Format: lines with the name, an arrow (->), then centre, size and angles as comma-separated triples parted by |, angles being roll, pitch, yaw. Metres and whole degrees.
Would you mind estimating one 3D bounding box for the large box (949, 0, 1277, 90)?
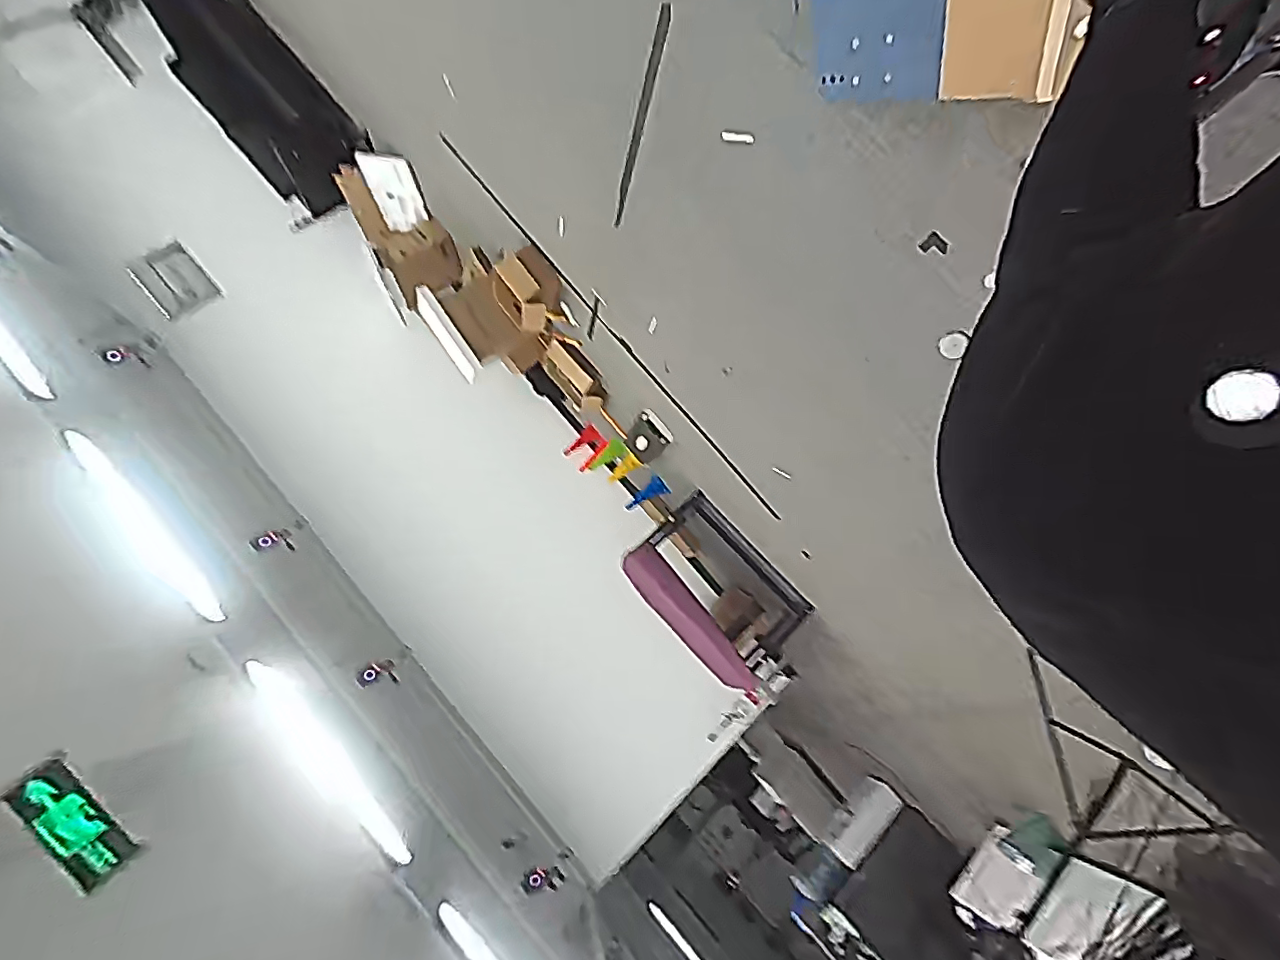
large box -> 0.643, -0.784, 0.676 | 0.320, 0.320, 0.408 | 33, 155, 41
